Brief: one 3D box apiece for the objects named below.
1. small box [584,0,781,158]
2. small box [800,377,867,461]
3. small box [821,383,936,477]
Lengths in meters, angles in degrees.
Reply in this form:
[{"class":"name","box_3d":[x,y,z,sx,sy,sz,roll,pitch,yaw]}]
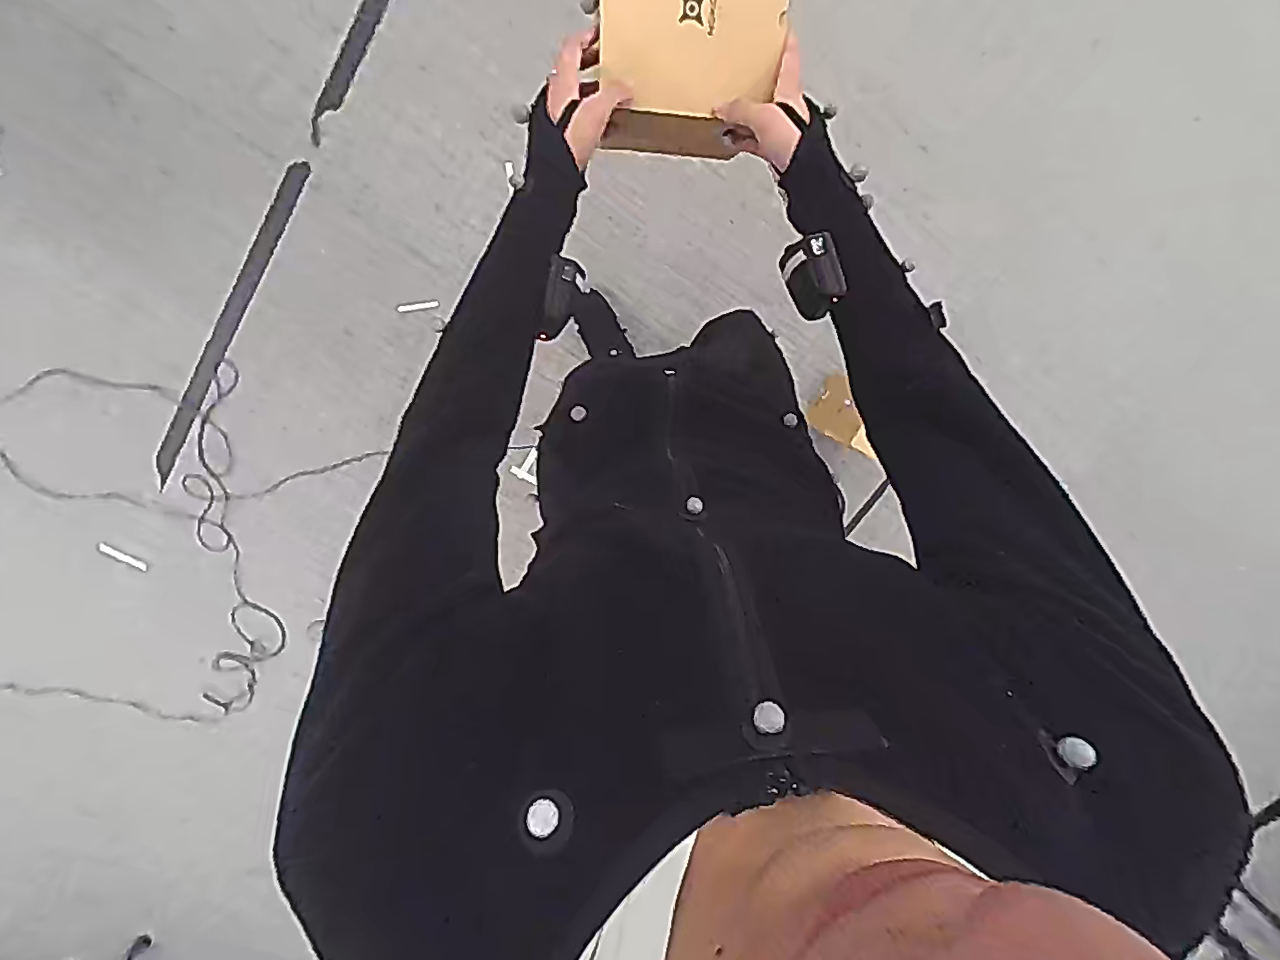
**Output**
[{"class":"small box","box_3d":[0.032,-0.447,0.559,0.179,0.176,0.168,-1,110,-9]},{"class":"small box","box_3d":[0.599,-0.183,1.560,0.179,0.176,0.168,26,105,-12]},{"class":"small box","box_3d":[0.610,-0.138,1.403,0.179,0.176,0.168,28,104,-12]}]
